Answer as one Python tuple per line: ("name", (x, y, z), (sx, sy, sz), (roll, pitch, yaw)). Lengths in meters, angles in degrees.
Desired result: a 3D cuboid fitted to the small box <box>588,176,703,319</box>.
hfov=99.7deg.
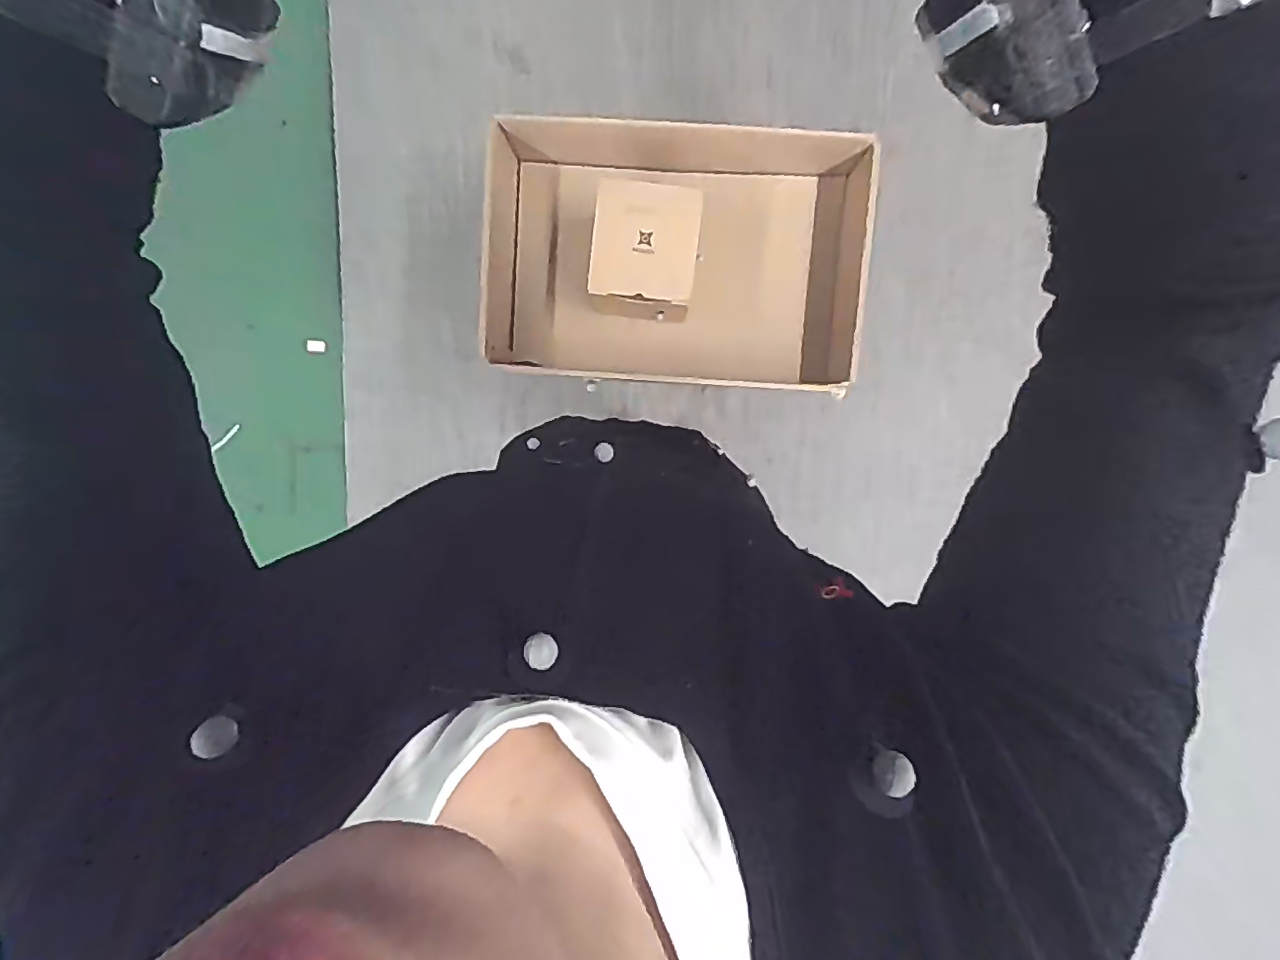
("small box", (0.009, -0.382, 0.920), (0.168, 0.176, 0.179), (6, 95, -1))
